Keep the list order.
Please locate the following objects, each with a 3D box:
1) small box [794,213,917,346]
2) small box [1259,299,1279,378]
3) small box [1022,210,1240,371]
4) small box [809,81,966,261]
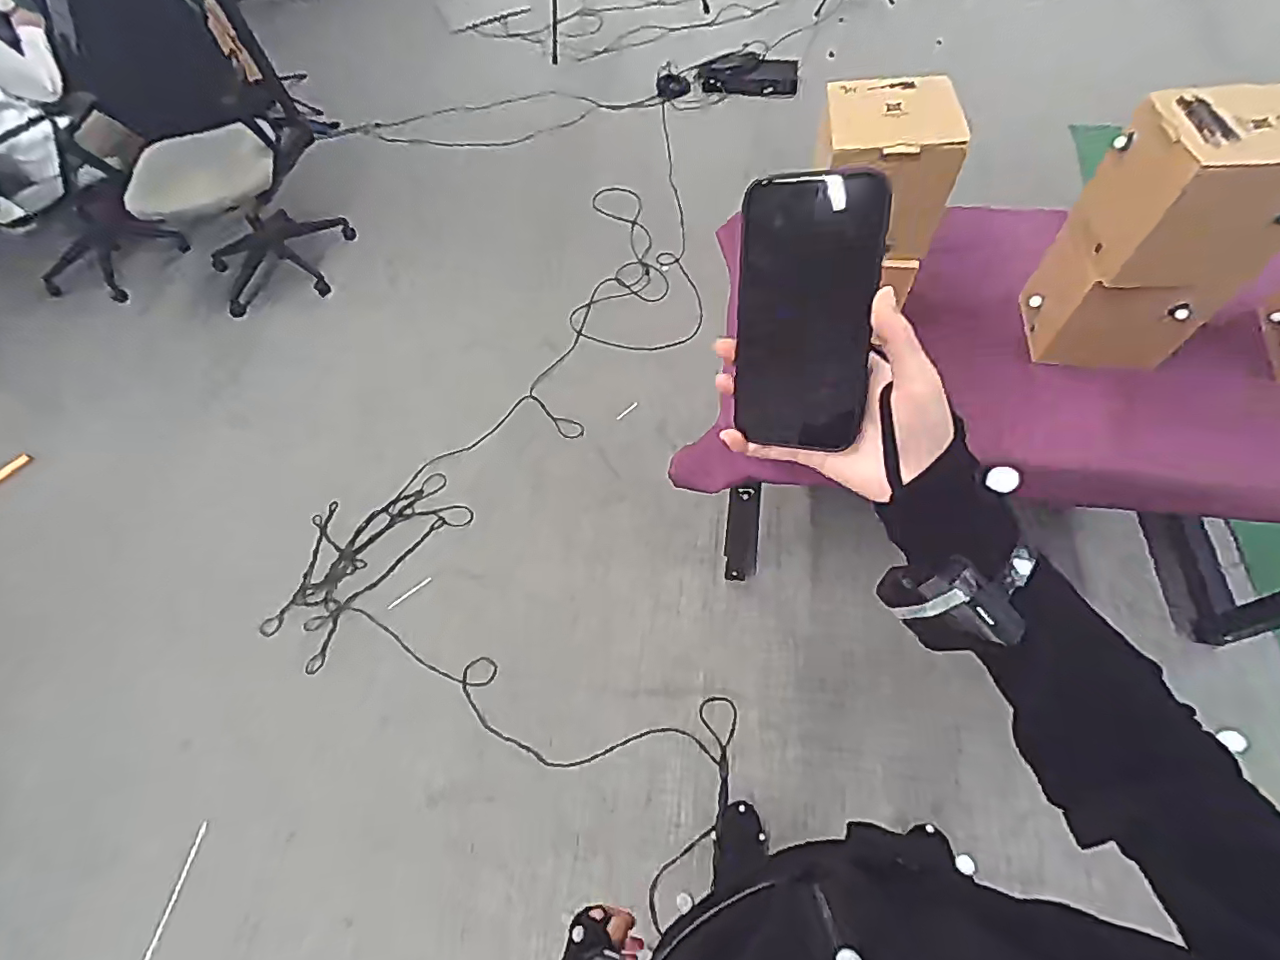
[{"bbox_3d":[0.362,-0.350,0.926,0.168,0.176,0.179,7,61,12],"label":"small box"},{"bbox_3d":[1.066,-0.236,0.766,0.179,0.176,0.168,12,61,15],"label":"small box"},{"bbox_3d":[0.738,-0.288,0.838,0.179,0.176,0.168,7,60,11],"label":"small box"},{"bbox_3d":[0.345,-0.441,0.790,0.168,0.176,0.179,3,61,9],"label":"small box"}]
